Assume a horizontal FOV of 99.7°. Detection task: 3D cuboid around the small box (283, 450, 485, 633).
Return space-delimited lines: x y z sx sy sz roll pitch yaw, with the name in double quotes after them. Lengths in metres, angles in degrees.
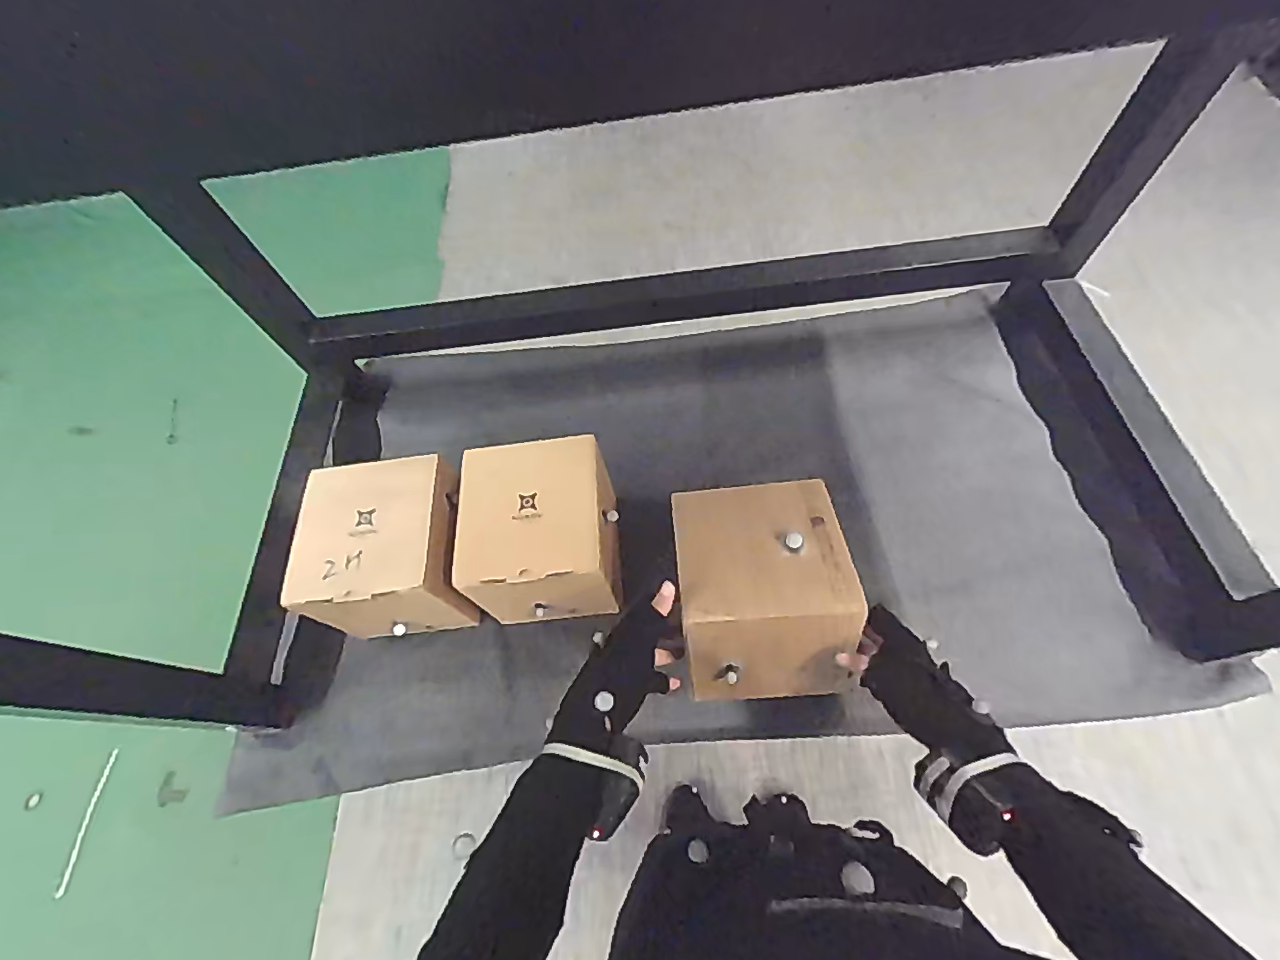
-0.310 0.085 0.700 0.168 0.176 0.179 -7 61 4 "small box"
